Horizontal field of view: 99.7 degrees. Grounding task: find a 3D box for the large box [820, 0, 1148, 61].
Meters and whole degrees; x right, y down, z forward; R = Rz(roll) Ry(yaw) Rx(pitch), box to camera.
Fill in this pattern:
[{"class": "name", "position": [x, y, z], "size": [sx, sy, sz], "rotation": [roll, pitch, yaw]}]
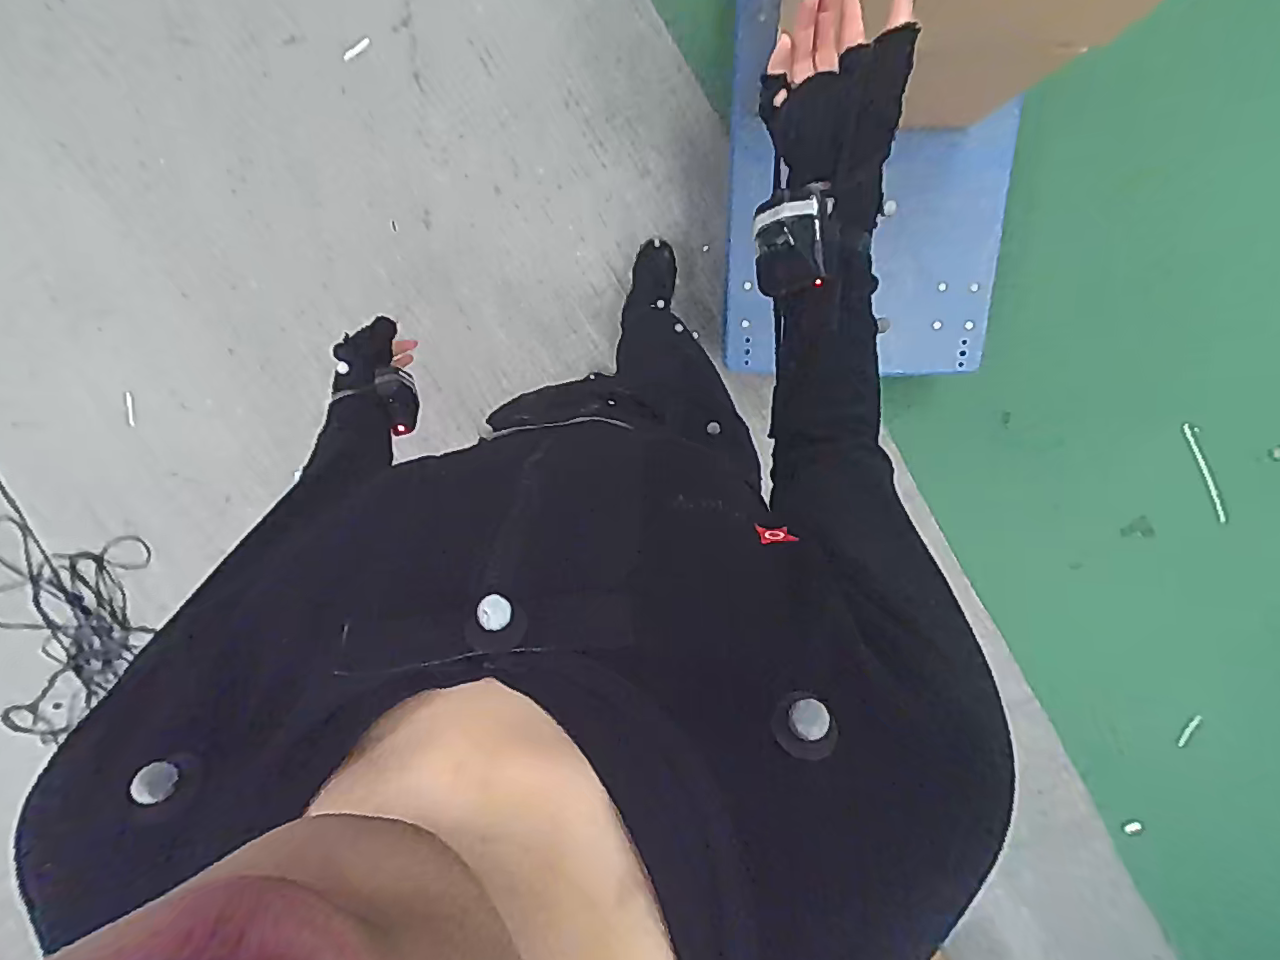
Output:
[{"class": "large box", "position": [0.447, -0.741, 0.611], "size": [0.408, 0.320, 0.320], "rotation": [-2, 99, 1]}]
